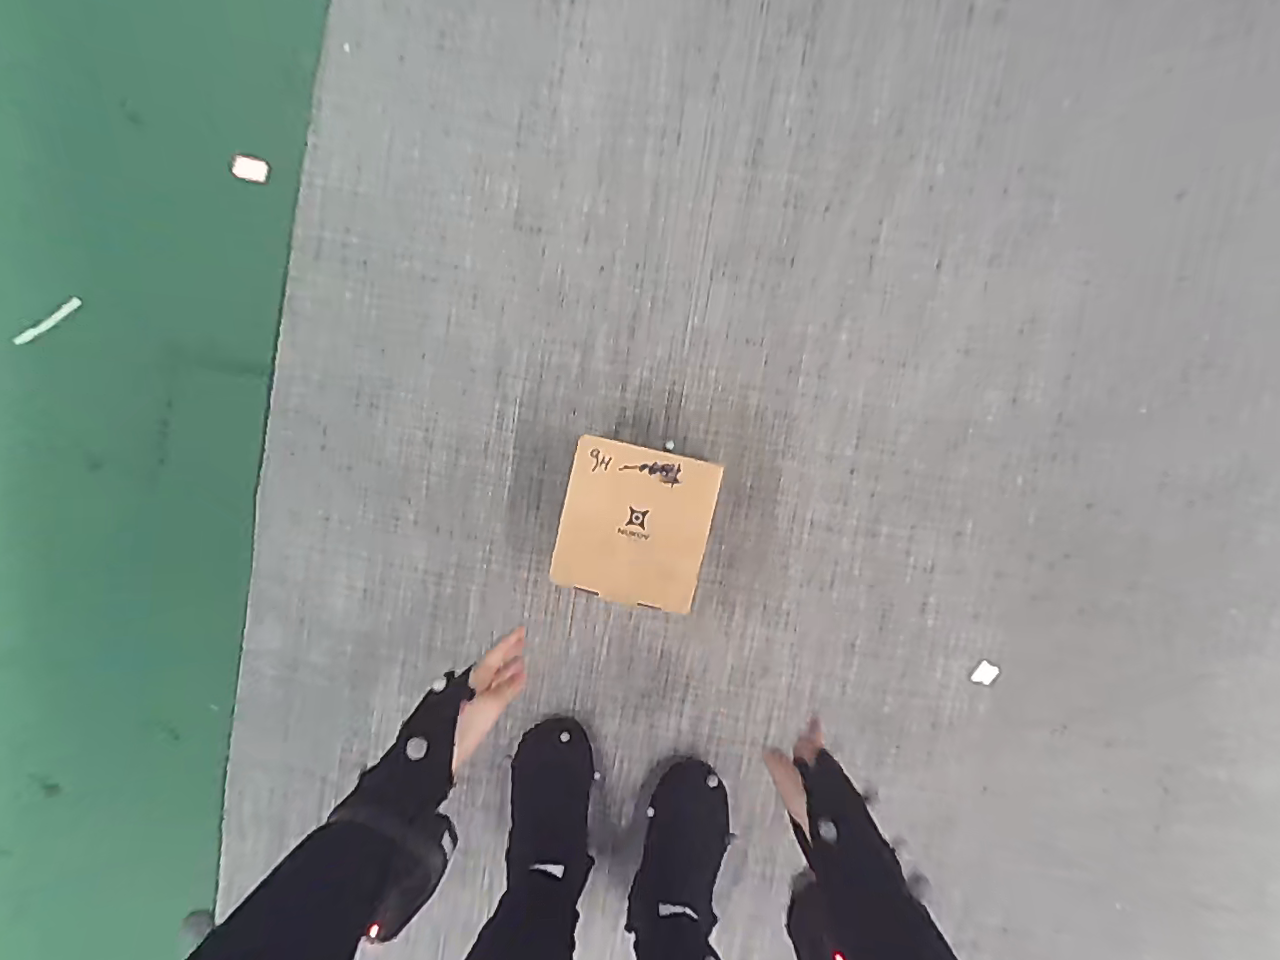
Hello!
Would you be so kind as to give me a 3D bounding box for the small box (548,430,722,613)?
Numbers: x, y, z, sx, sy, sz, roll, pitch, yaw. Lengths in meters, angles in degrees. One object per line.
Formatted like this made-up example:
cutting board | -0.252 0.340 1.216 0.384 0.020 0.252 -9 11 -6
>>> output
small box | -0.002 0.042 0.678 0.168 0.176 0.179 13 94 2
